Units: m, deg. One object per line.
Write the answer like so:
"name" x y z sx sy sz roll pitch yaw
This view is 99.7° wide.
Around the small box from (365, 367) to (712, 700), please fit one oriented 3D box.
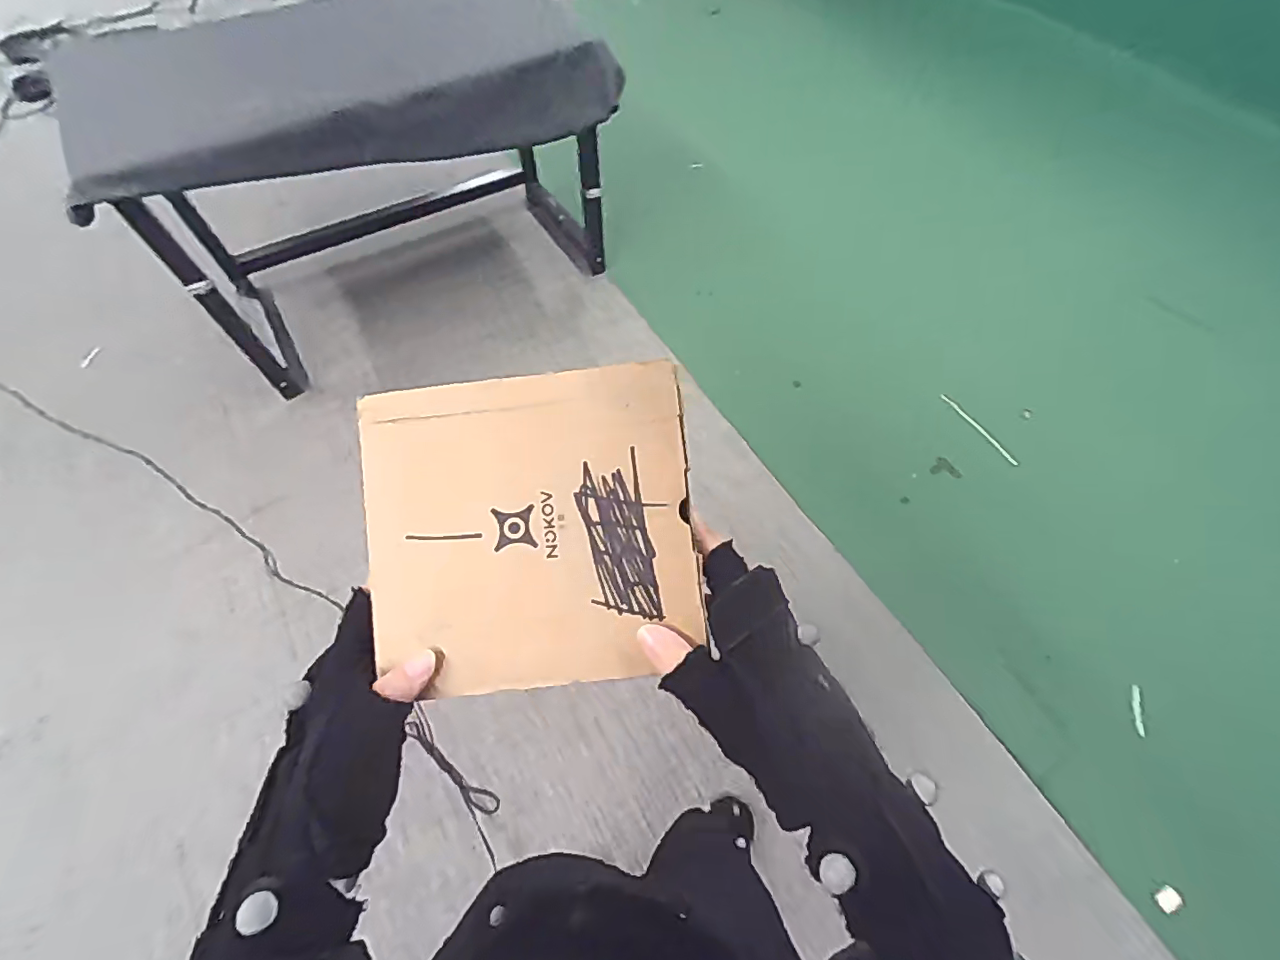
"small box" -0.056 0.032 0.369 0.179 0.176 0.168 -7 85 0
